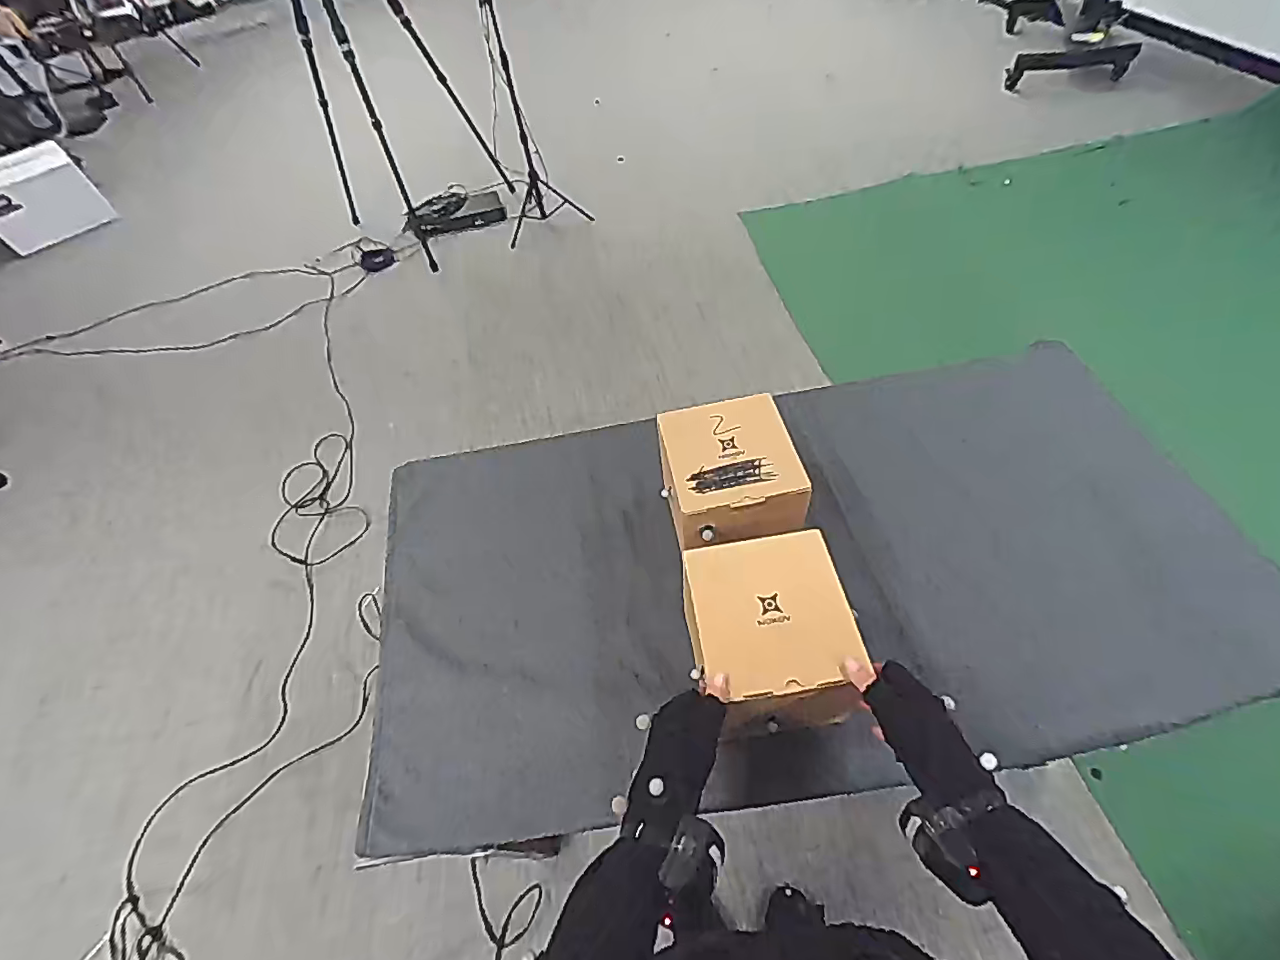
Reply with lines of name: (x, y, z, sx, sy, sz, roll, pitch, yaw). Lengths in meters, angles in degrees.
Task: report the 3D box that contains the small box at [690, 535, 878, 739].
small box: (0.154, 0.191, 0.650, 0.168, 0.176, 0.179, -9, 53, 0)
